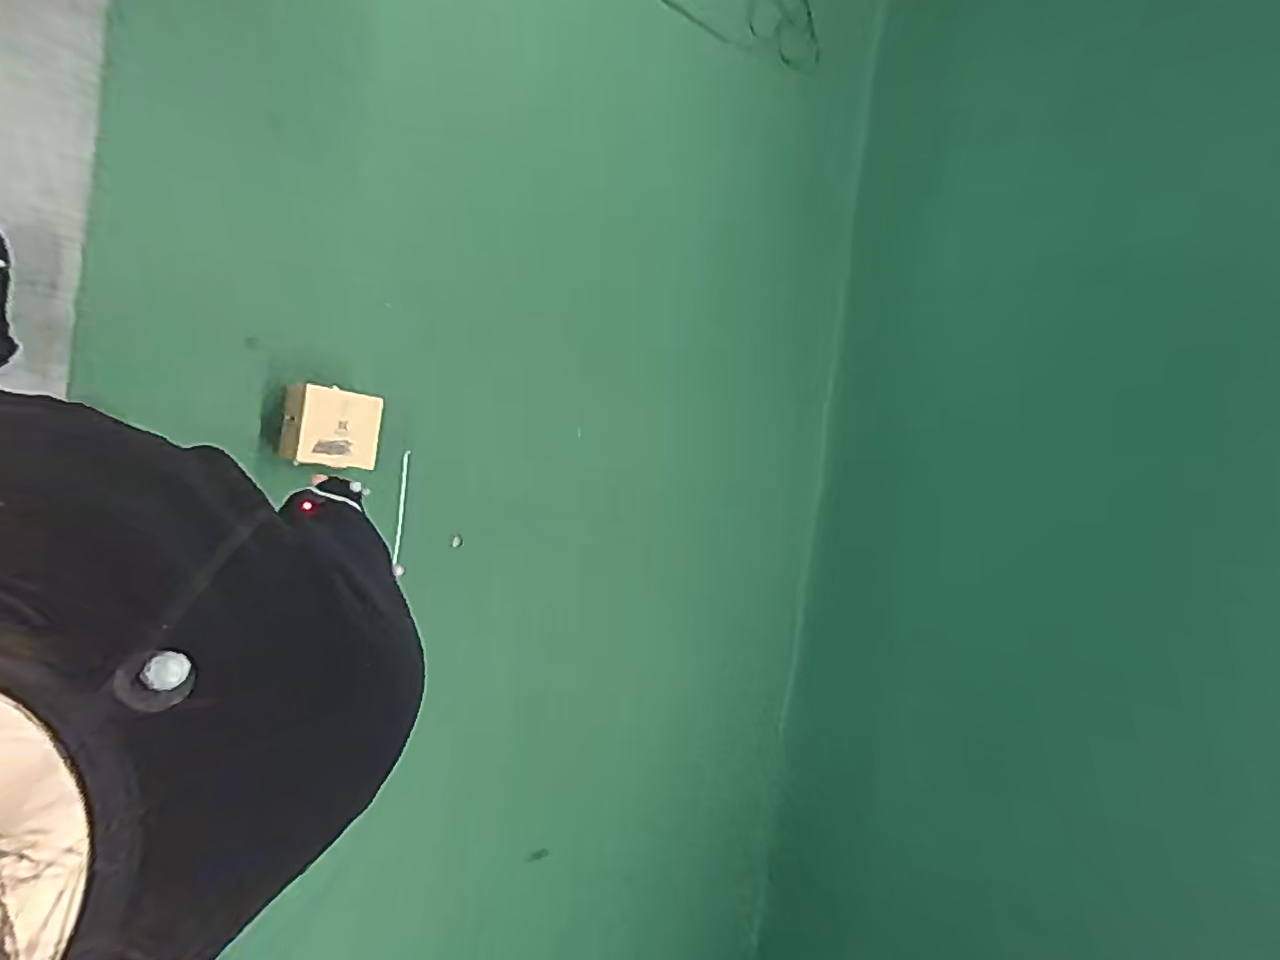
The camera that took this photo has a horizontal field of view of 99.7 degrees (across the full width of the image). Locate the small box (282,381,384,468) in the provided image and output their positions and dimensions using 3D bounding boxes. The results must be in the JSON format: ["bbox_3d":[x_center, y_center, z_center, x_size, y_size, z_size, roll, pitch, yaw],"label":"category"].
[{"bbox_3d":[-0.739,-0.130,1.295,0.168,0.176,0.179,9,89,-45],"label":"small box"}]
